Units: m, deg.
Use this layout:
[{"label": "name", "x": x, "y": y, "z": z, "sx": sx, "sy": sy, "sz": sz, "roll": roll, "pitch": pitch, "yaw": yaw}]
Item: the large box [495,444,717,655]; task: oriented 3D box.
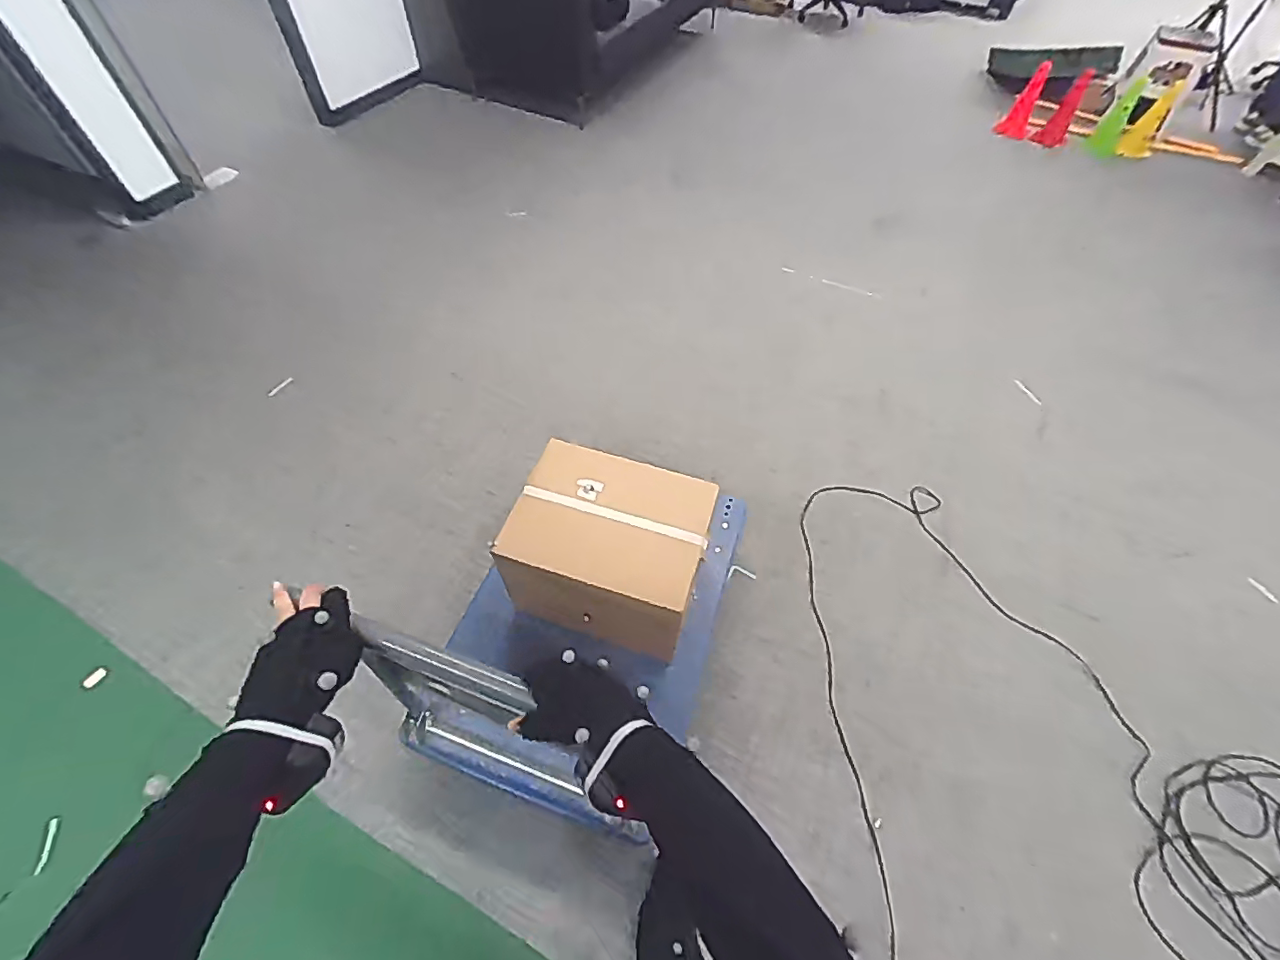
[{"label": "large box", "x": -0.061, "y": 0.167, "z": 1.261, "sx": 0.408, "sy": 0.320, "sz": 0.320, "roll": 16, "pitch": 56, "yaw": 10}]
